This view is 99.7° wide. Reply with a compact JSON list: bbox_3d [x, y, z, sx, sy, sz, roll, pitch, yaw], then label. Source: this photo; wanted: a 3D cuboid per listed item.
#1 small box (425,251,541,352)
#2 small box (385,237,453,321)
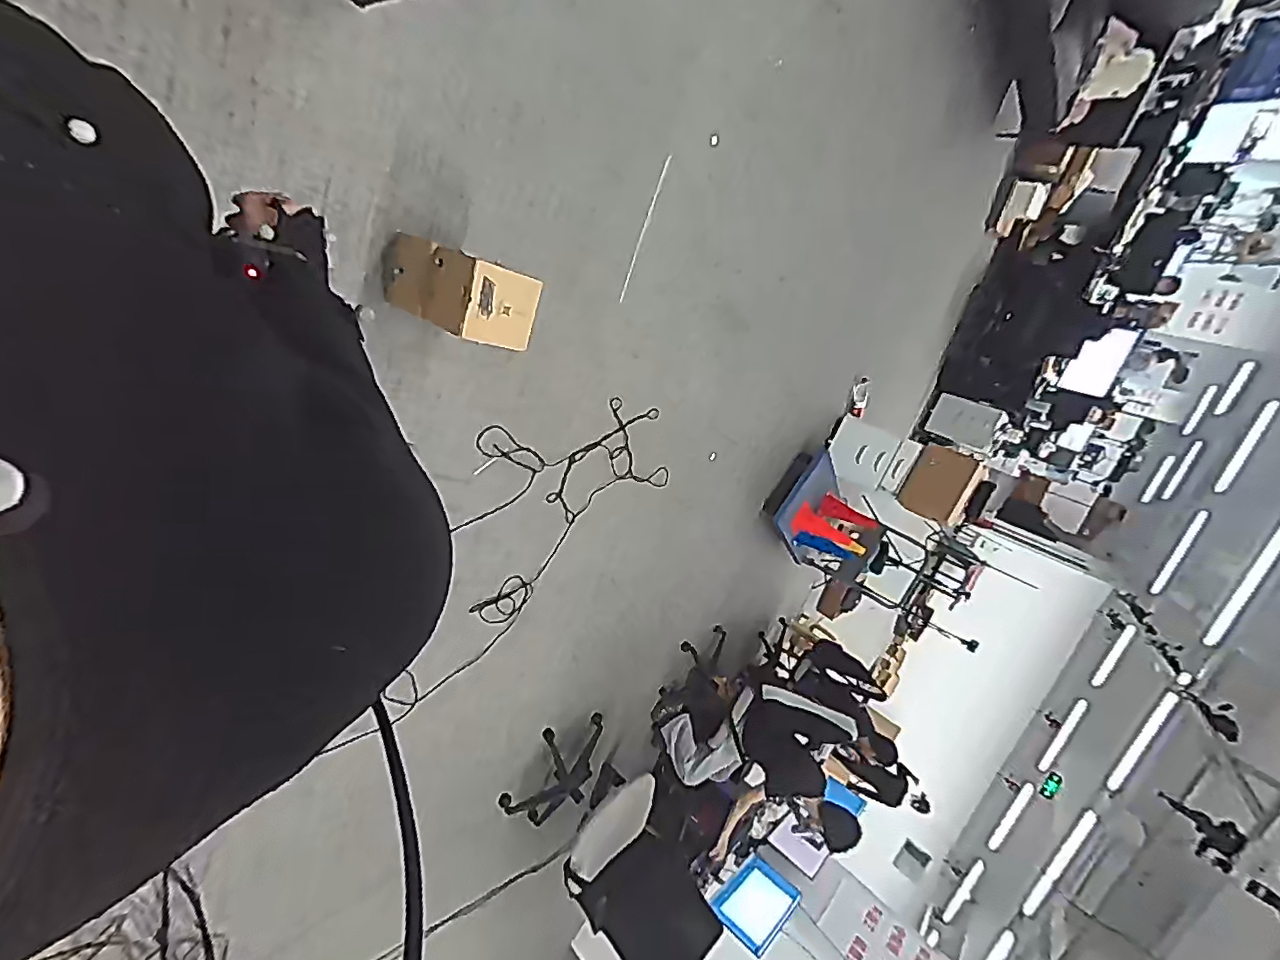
[{"bbox_3d":[-0.358,-0.403,1.219,0.179,0.176,0.168,-2,115,-52],"label":"small box"},{"bbox_3d":[-0.482,-0.471,1.304,0.179,0.176,0.168,-2,115,-50],"label":"small box"}]
